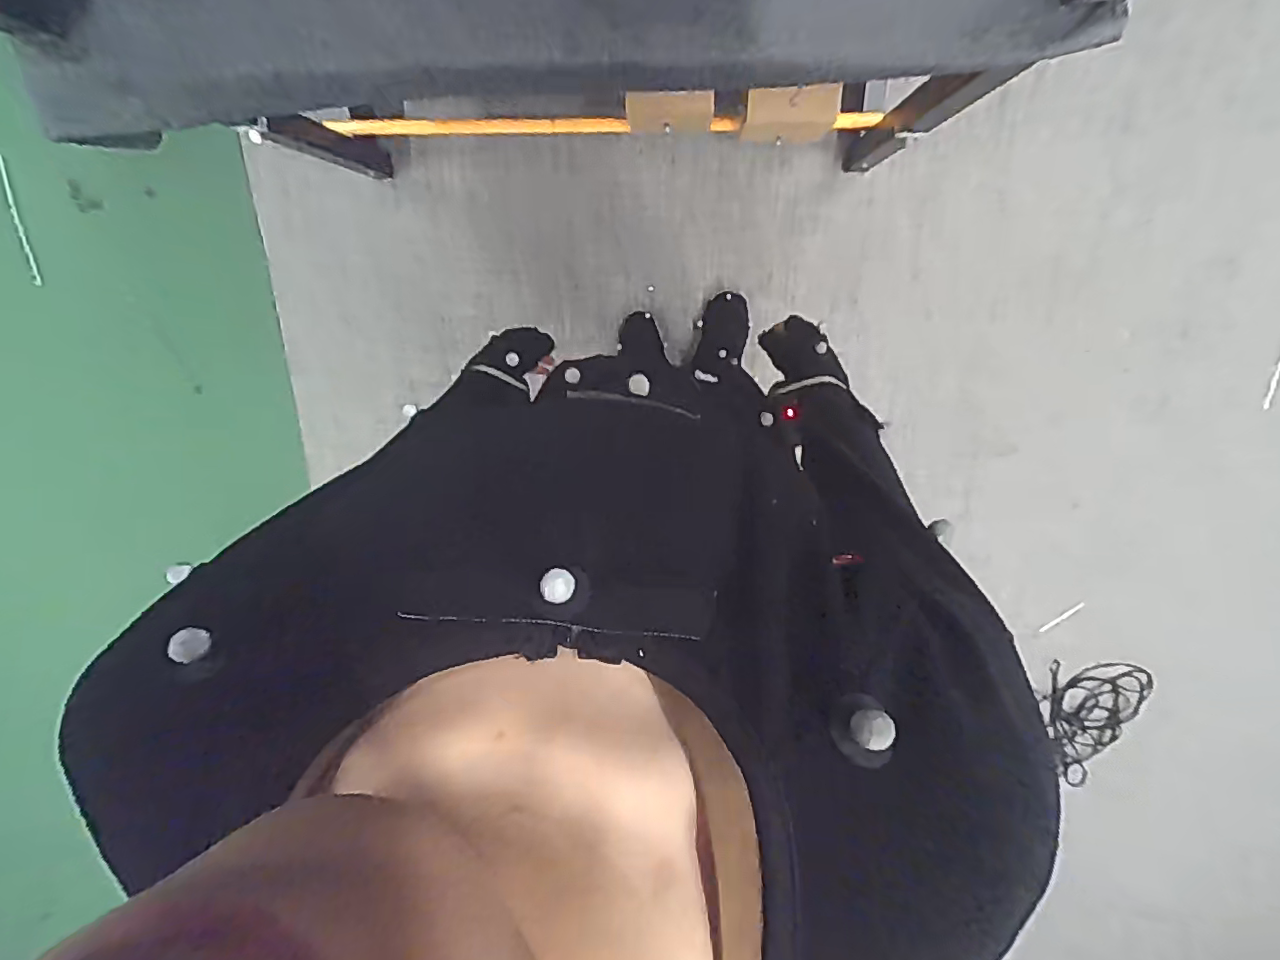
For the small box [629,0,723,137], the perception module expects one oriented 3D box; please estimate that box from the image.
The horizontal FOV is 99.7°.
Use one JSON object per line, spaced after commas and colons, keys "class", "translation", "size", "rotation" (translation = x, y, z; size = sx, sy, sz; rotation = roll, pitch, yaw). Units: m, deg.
{"class": "small box", "translation": [0.069, -0.778, 1.042], "size": [0.168, 0.176, 0.179], "rotation": [1, 110, 4]}
